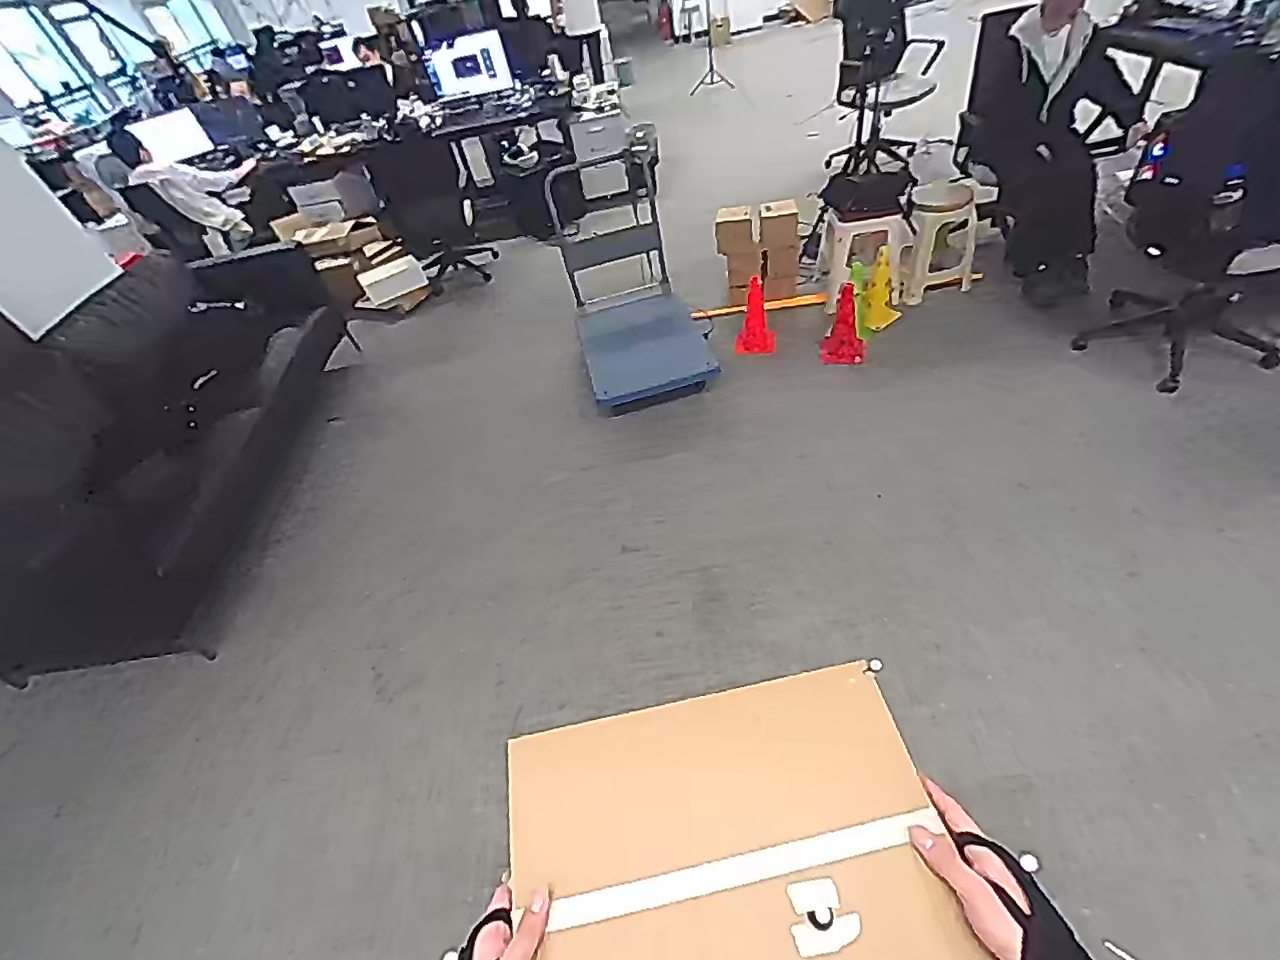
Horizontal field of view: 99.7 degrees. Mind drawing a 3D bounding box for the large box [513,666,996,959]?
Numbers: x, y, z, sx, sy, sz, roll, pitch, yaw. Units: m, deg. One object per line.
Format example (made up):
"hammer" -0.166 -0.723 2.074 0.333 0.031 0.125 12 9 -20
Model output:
"large box" 0.095 0.461 0.621 0.408 0.320 0.320 -12 51 -4
